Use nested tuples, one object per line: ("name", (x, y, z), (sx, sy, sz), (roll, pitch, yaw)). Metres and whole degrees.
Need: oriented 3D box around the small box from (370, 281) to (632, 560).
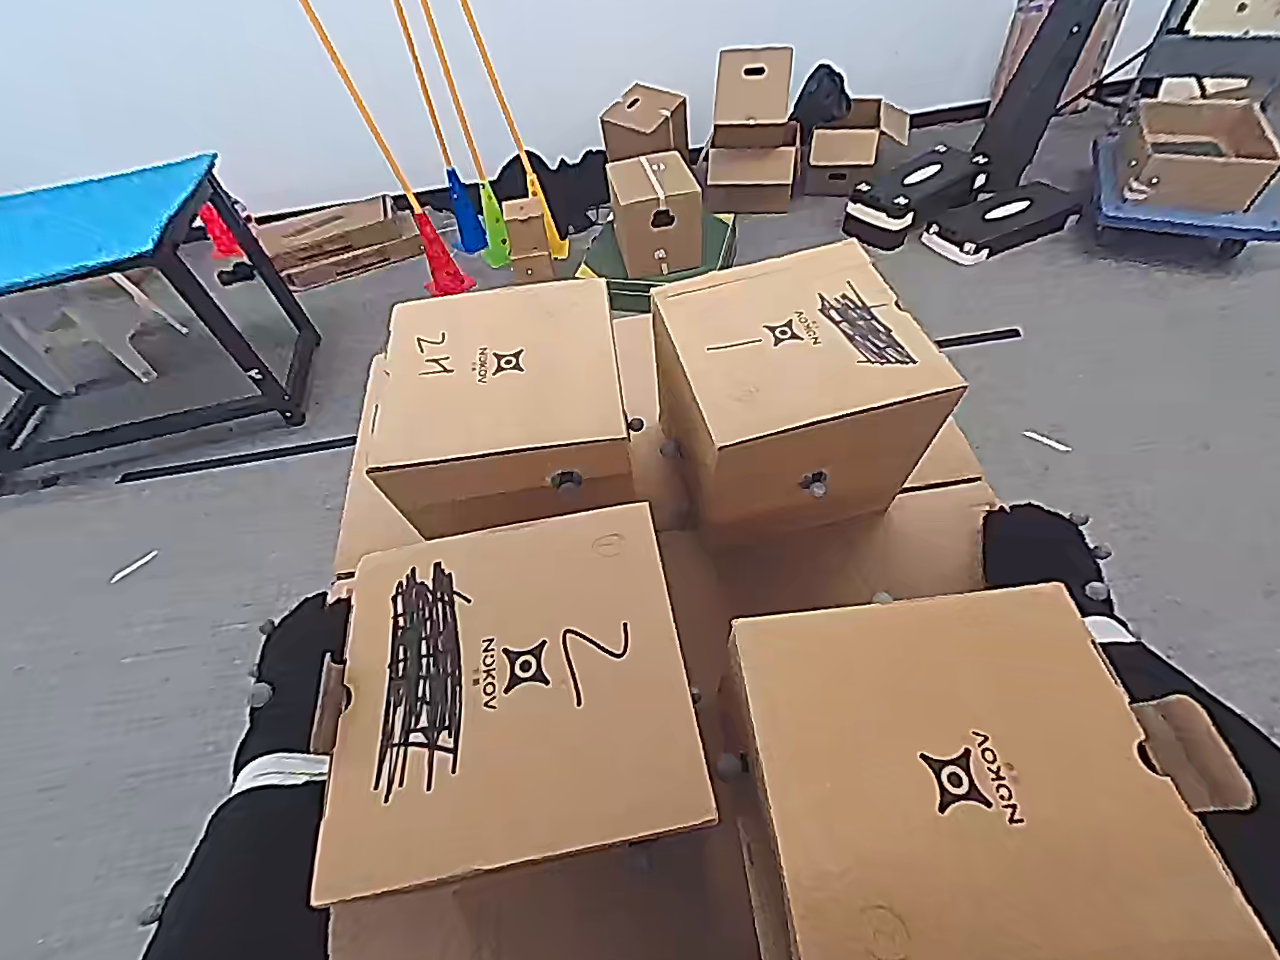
("small box", (-0.102, -0.044, 0.477), (0.179, 0.176, 0.168), (-8, 57, 0))
